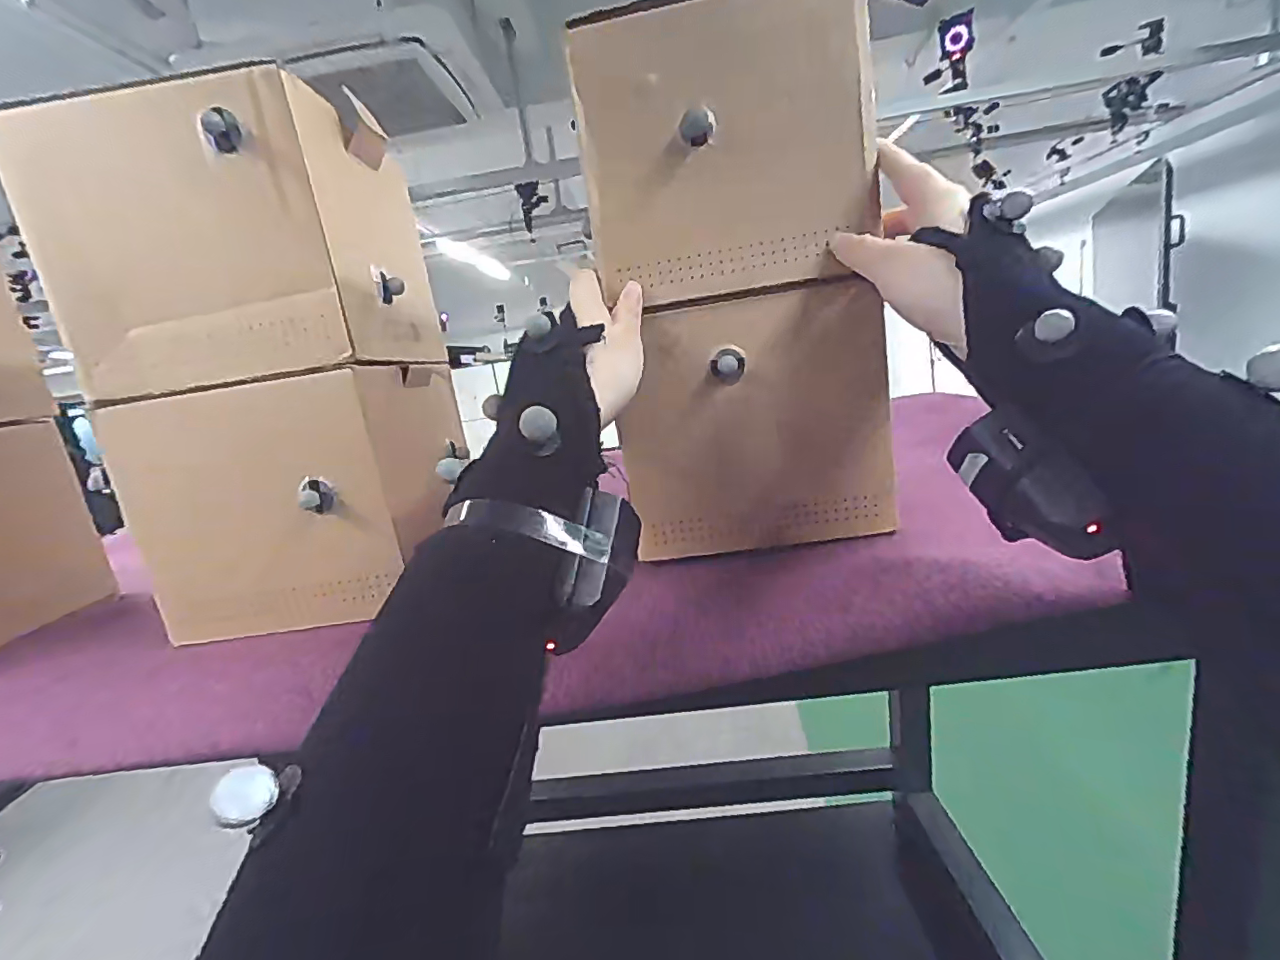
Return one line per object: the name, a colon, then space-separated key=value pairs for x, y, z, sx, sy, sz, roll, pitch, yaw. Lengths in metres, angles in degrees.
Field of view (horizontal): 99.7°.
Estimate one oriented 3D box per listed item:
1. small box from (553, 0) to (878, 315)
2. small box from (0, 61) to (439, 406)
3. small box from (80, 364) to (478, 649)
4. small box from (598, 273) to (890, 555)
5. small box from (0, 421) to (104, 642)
small box: x=0.054 y=-0.206 z=0.395 sx=0.179 sy=0.176 sz=0.168 roll=-8 pitch=10 yaw=7
small box: x=-0.271 y=-0.149 z=0.388 sx=0.179 sy=0.176 sz=0.168 roll=-9 pitch=12 yaw=1
small box: x=-0.244 y=0.009 z=0.420 sx=0.179 sy=0.176 sz=0.168 roll=-9 pitch=12 yaw=2
small box: x=0.076 y=-0.046 z=0.425 sx=0.179 sy=0.176 sz=0.168 roll=-7 pitch=10 yaw=5
small box: x=-0.583 y=0.060 z=0.410 sx=0.168 sy=0.176 sz=0.179 roll=-7 pitch=14 yaw=1
